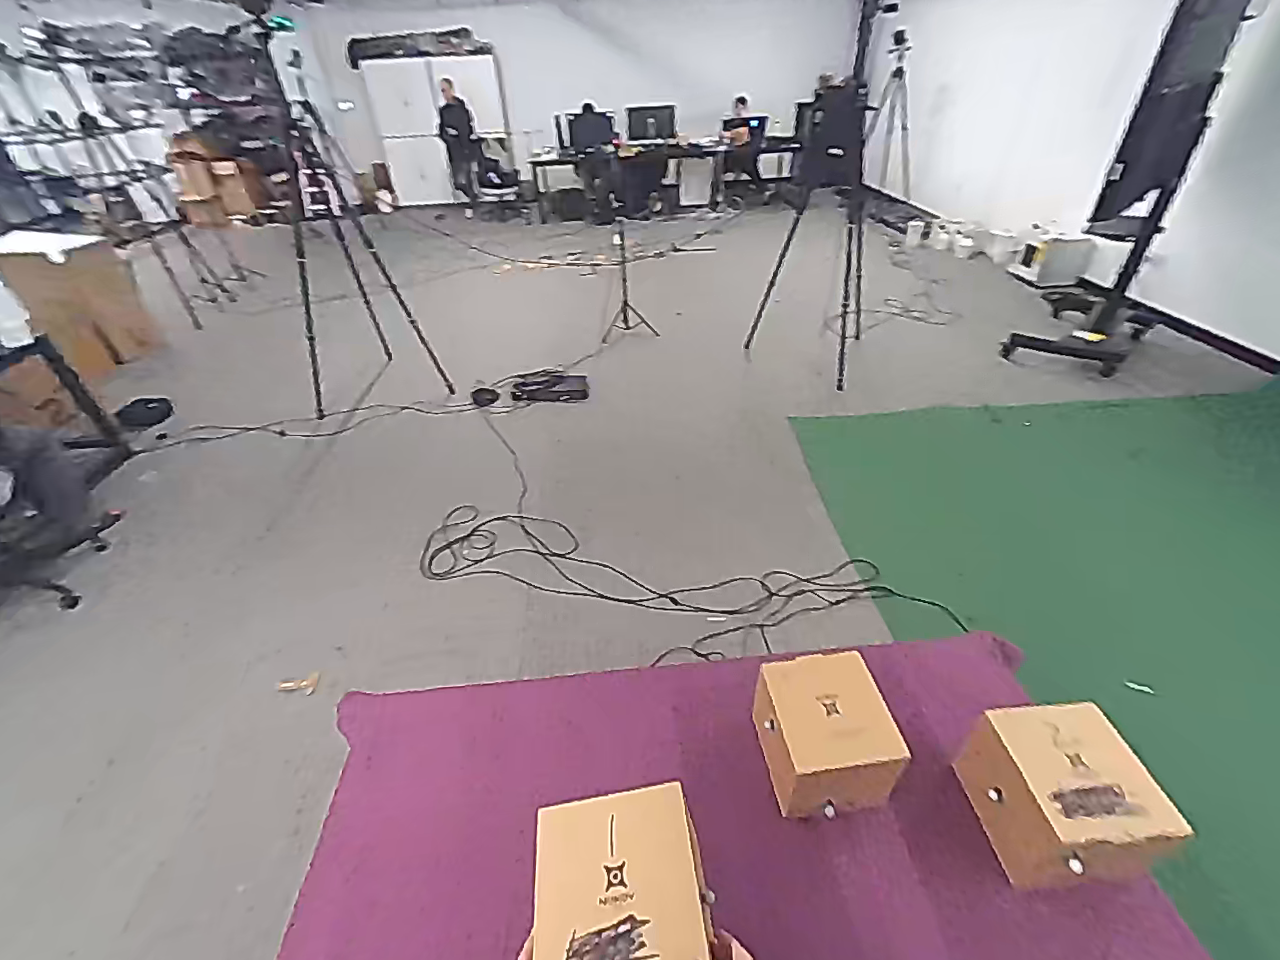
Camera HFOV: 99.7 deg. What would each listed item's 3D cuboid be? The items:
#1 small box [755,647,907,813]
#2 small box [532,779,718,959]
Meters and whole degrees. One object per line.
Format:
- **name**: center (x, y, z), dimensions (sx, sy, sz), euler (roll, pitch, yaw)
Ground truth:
- **small box**: center (0.288, 0.397, 0.864), dimensions (0.168, 0.176, 0.179), euler (-6, 39, -3)
- **small box**: center (-0.010, 0.462, 0.586), dimensions (0.168, 0.176, 0.179), euler (-10, 37, 1)
